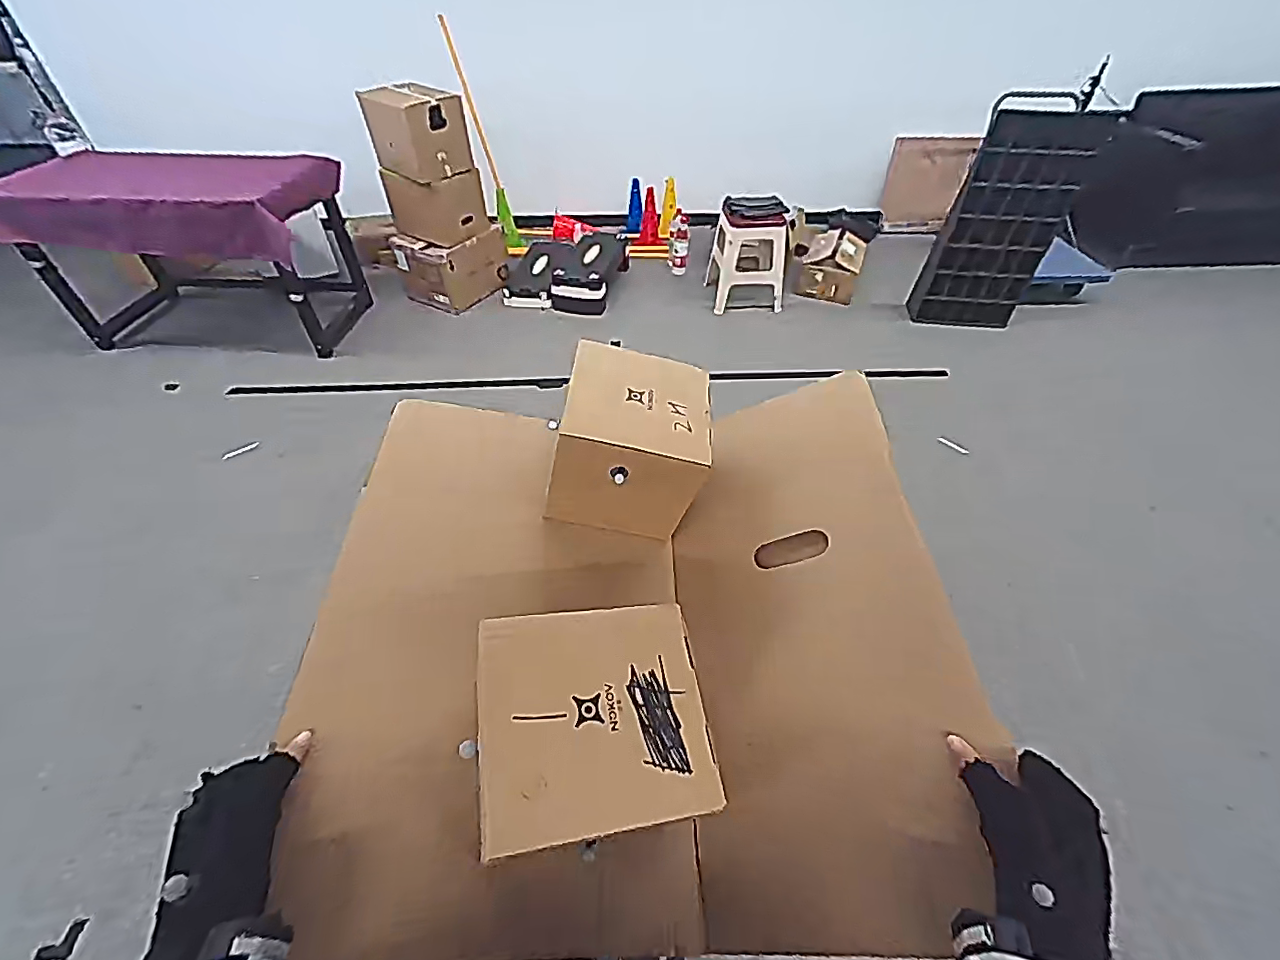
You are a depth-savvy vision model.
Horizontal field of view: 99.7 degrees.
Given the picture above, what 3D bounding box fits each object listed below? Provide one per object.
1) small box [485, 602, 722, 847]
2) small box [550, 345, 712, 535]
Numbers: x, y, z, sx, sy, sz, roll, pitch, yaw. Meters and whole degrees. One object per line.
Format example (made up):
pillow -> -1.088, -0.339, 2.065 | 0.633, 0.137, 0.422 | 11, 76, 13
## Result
small box -> -0.050, 0.226, 0.501 | 0.179, 0.176, 0.168 | 0, 54, -17
small box -> -0.015, -0.046, 0.719 | 0.179, 0.176, 0.168 | 13, 51, -9
